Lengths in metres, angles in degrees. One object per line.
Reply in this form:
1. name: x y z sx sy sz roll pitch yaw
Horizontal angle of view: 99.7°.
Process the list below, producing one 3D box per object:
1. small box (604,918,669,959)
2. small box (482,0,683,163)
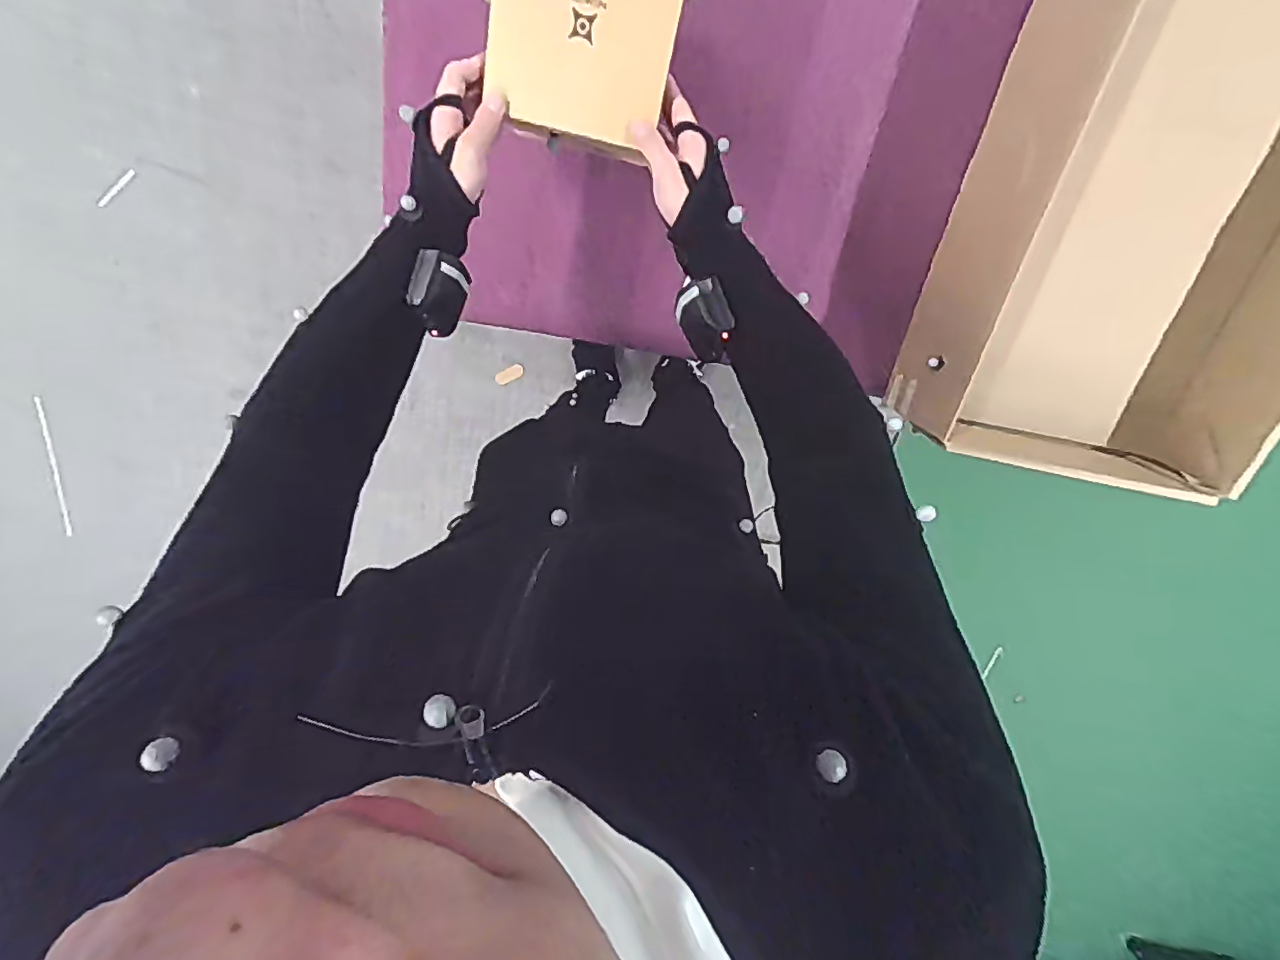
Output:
1. small box: -0.007 1.518 1.683 0.168 0.176 0.179 -19 110 6
2. small box: -0.051 -0.441 0.549 0.168 0.176 0.179 11 114 -6
